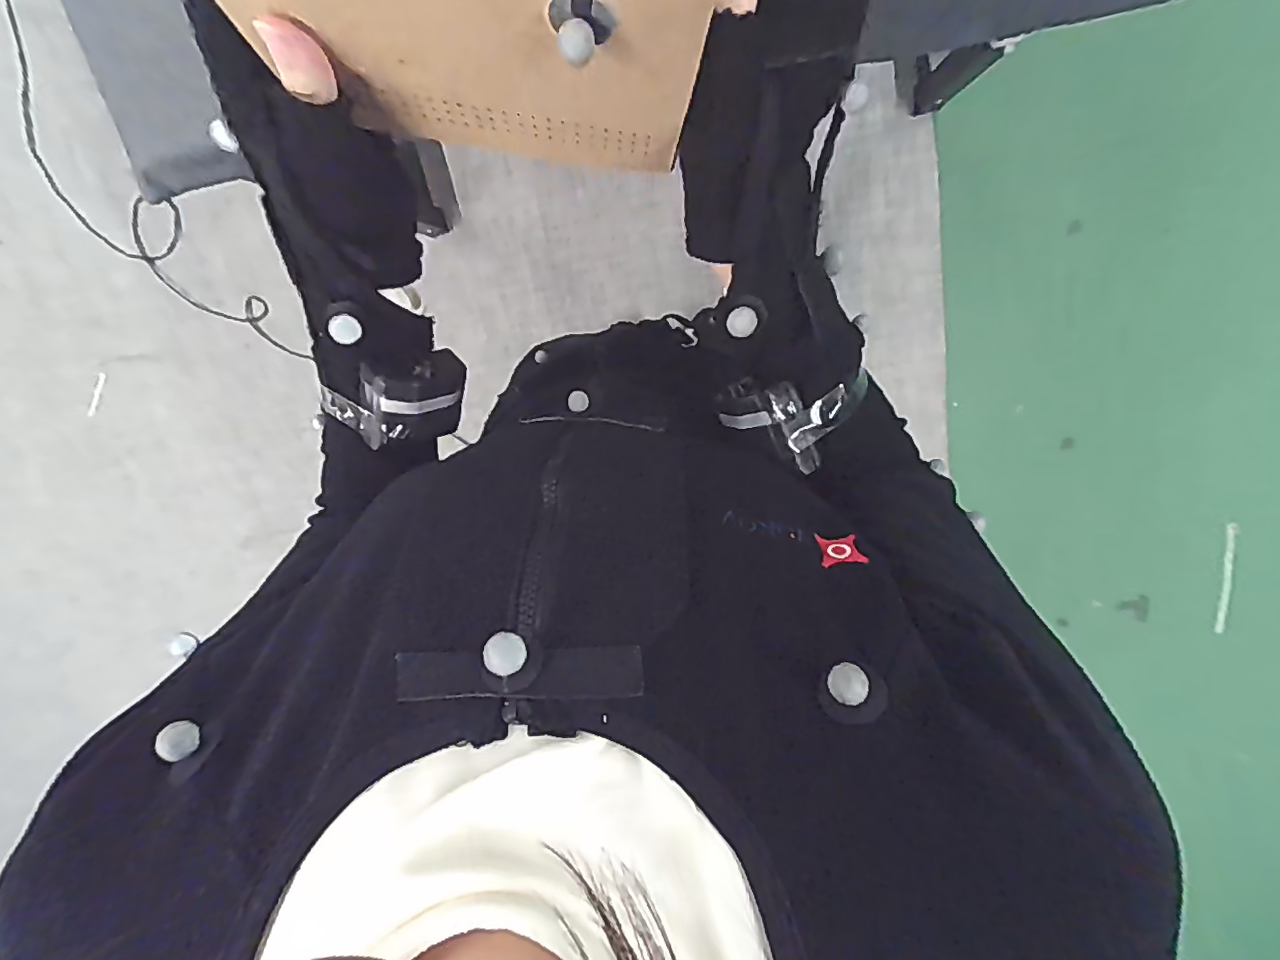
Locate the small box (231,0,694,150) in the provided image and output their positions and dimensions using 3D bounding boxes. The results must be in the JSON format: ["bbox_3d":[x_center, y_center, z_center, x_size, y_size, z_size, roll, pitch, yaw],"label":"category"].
[{"bbox_3d":[-0.058,-0.247,0.185,0.179,0.176,0.168,5,90,-4],"label":"small box"}]
